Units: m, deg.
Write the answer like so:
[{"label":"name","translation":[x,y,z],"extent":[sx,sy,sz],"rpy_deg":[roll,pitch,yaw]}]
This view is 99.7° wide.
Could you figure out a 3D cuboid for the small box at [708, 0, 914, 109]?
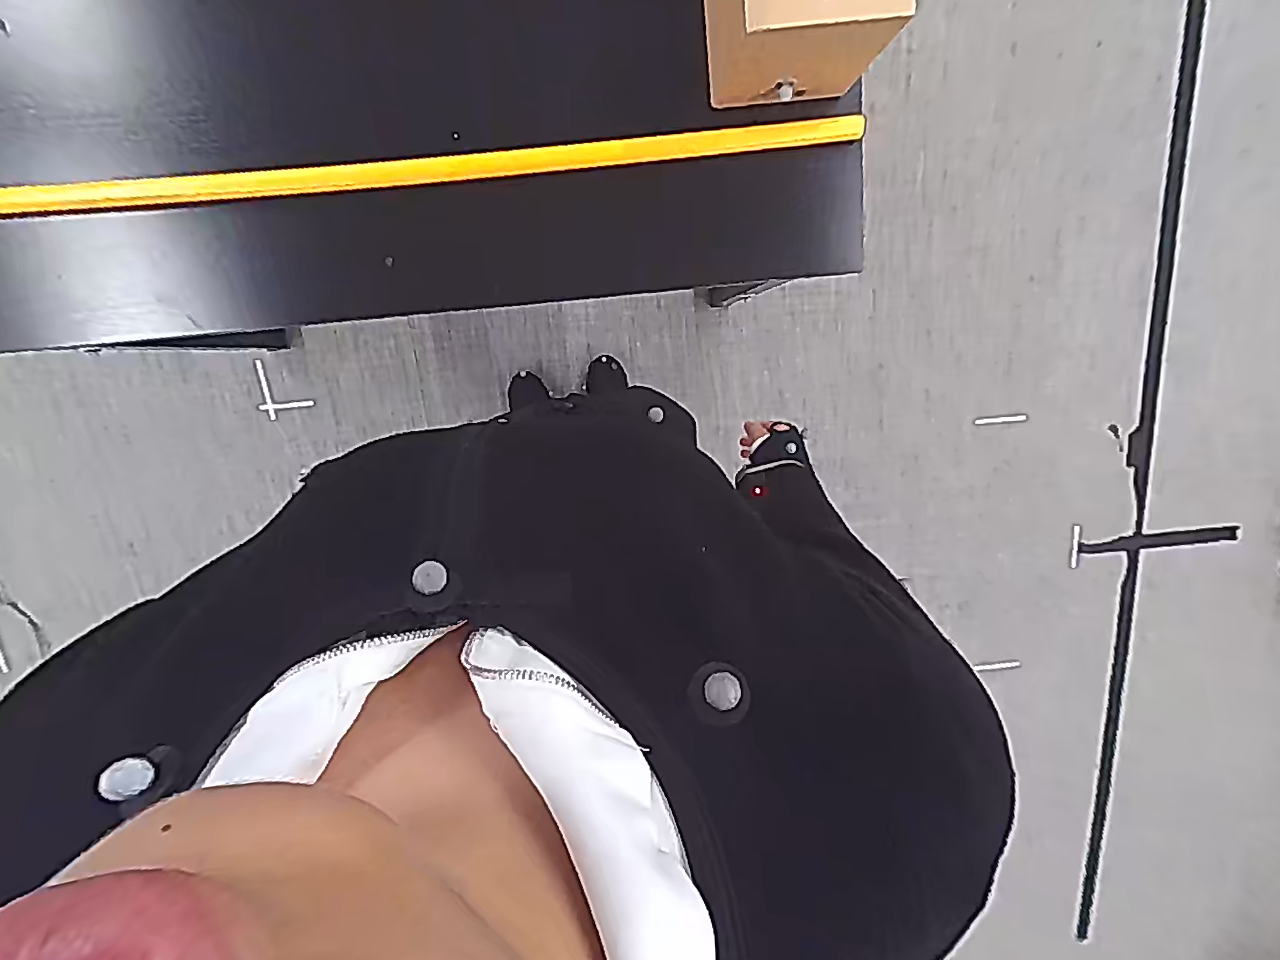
[{"label":"small box","translation":[0.167,-0.530,0.571],"extent":[0.168,0.176,0.179],"rpy_deg":[-6,104,-2]}]
